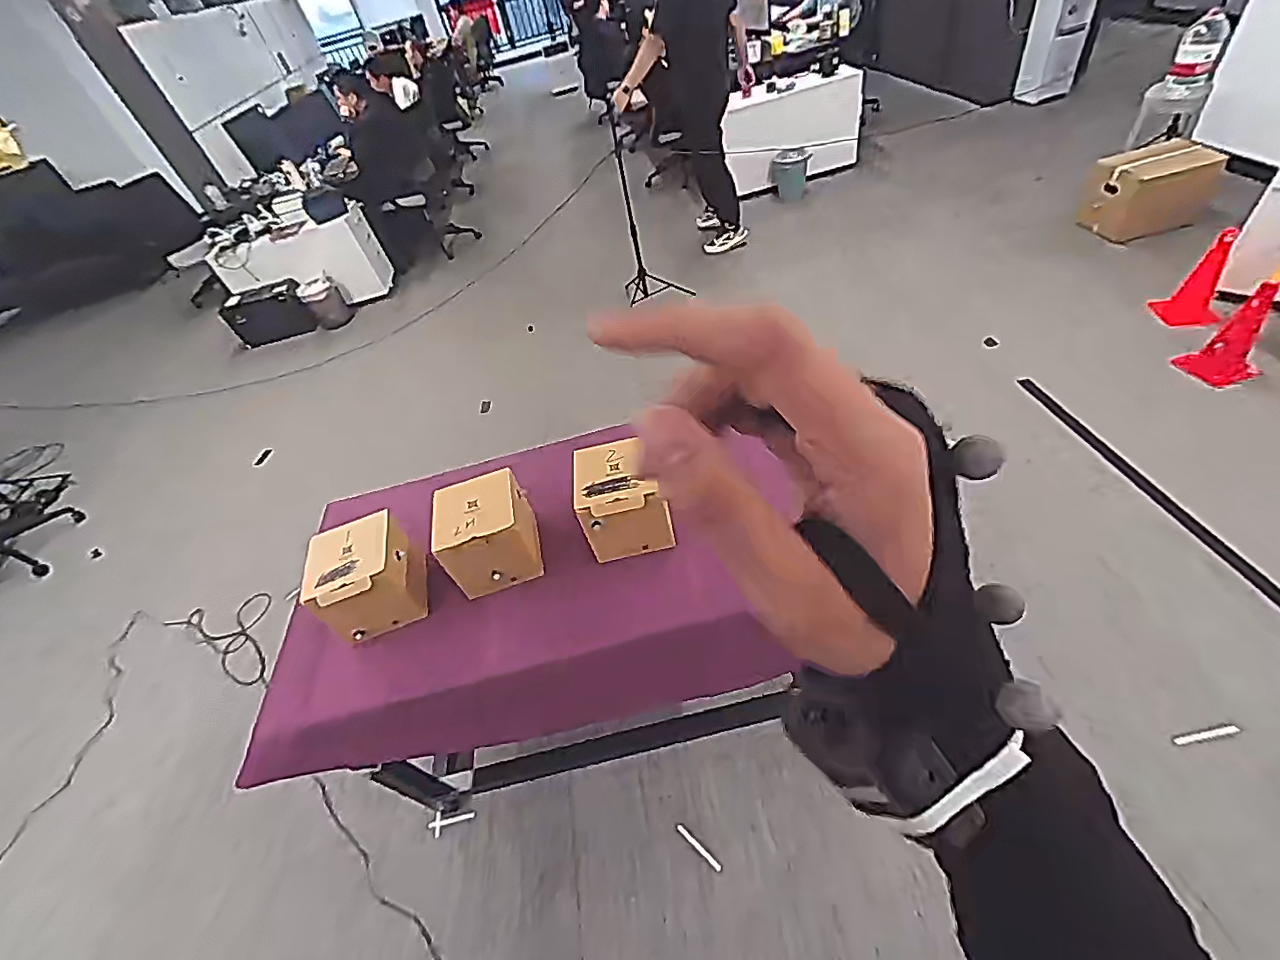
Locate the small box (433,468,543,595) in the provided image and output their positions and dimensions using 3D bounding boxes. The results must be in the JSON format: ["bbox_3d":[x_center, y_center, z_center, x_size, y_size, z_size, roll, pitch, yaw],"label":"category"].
[{"bbox_3d":[-0.313,0.109,1.132,0.168,0.176,0.179,-18,45,-1],"label":"small box"}]

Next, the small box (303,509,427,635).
[{"bbox_3d":[-0.554,0.197,1.116,0.168,0.176,0.179,-20,44,-5],"label":"small box"}]
